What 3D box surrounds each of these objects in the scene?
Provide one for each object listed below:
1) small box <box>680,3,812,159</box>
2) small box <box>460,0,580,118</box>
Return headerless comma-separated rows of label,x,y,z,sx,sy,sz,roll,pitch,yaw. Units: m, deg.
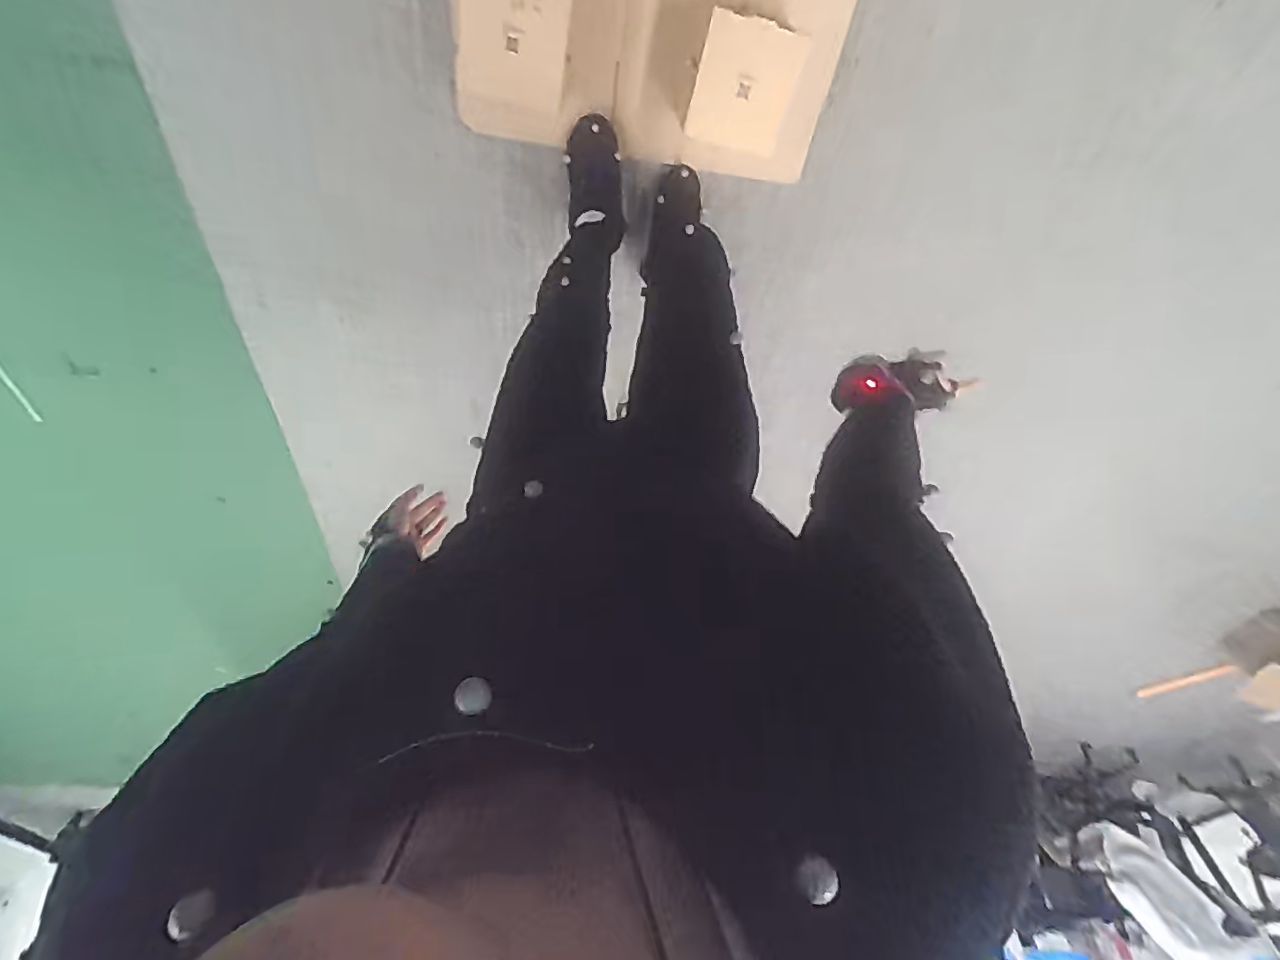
small box,0.171,-0.695,0.942,0.168,0.176,0.179,8,132,-10
small box,-0.194,-0.735,0.891,0.168,0.176,0.179,9,132,-11
